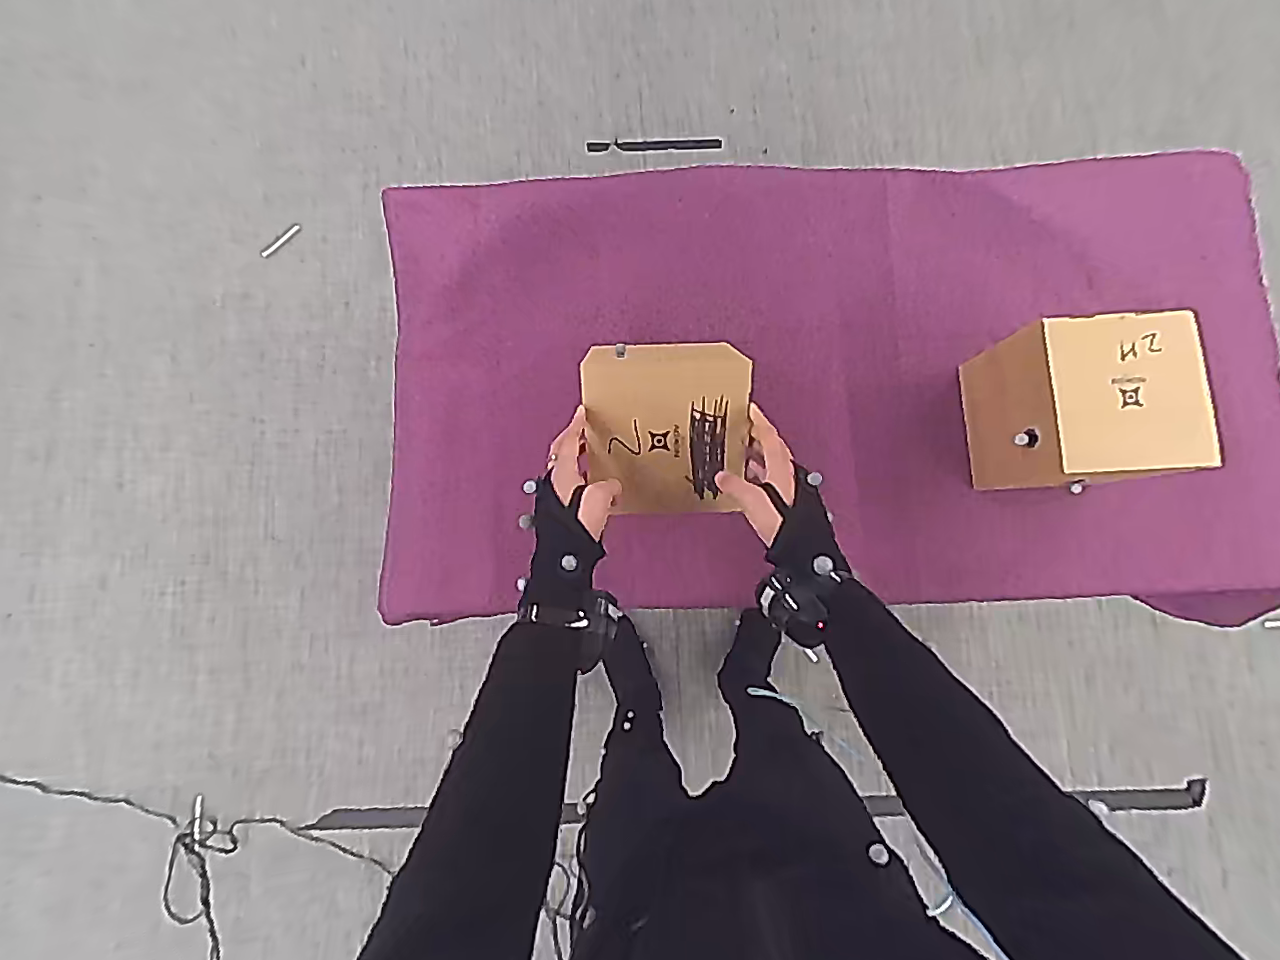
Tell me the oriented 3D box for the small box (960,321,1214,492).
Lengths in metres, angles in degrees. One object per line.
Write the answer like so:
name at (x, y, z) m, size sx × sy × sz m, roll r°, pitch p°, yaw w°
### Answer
small box at (0.526, -0.077, 0.664) m, size 0.168 × 0.176 × 0.179 m, roll -2°, pitch 83°, yaw 1°
